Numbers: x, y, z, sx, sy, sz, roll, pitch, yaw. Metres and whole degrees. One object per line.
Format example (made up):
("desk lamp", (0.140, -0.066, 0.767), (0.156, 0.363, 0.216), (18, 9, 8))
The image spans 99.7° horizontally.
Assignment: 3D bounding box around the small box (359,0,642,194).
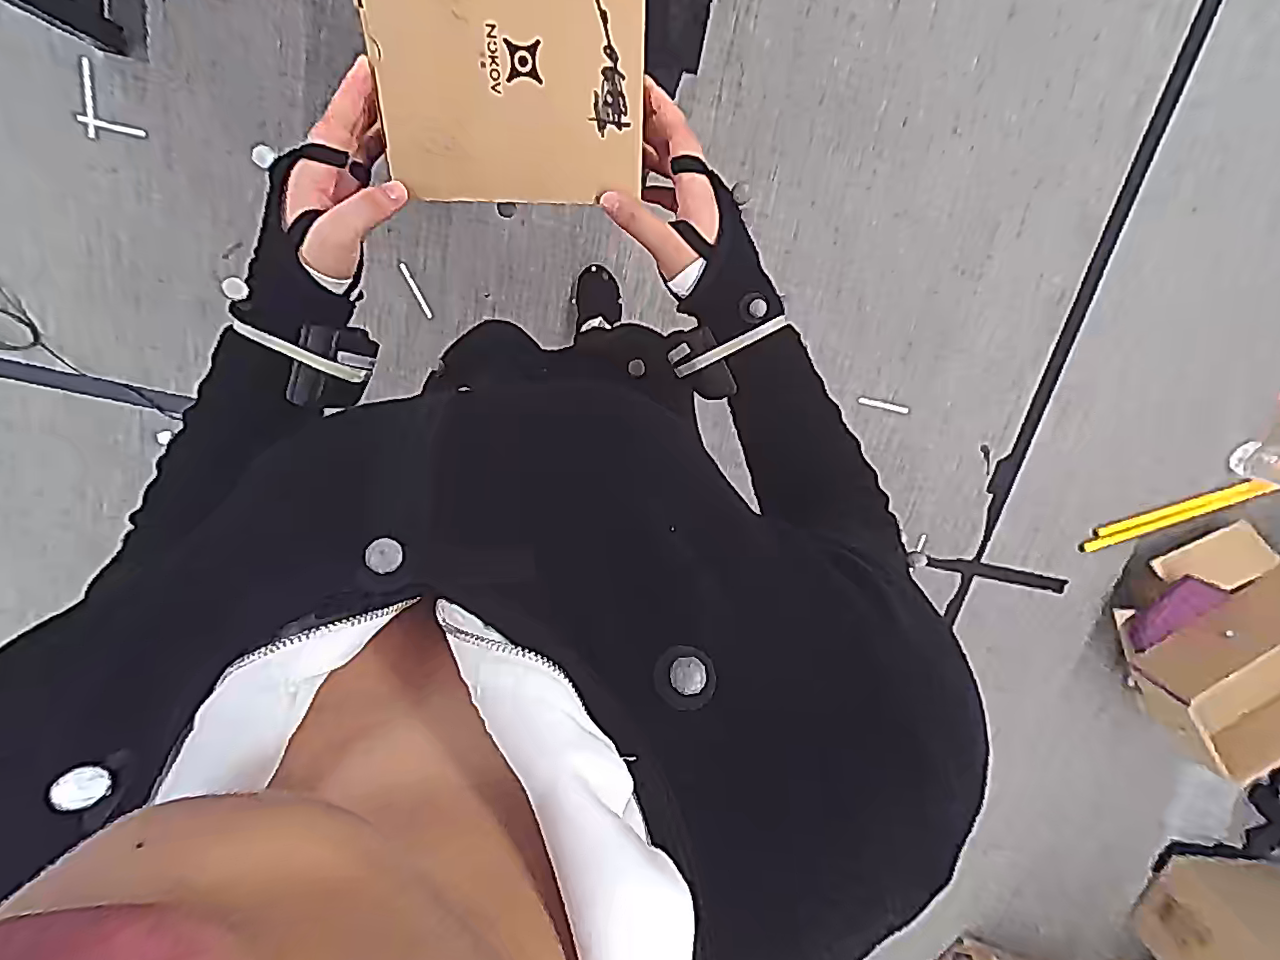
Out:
("small box", (-0.093, -0.315, 0.413), (0.179, 0.176, 0.168), (-2, 120, -6))
